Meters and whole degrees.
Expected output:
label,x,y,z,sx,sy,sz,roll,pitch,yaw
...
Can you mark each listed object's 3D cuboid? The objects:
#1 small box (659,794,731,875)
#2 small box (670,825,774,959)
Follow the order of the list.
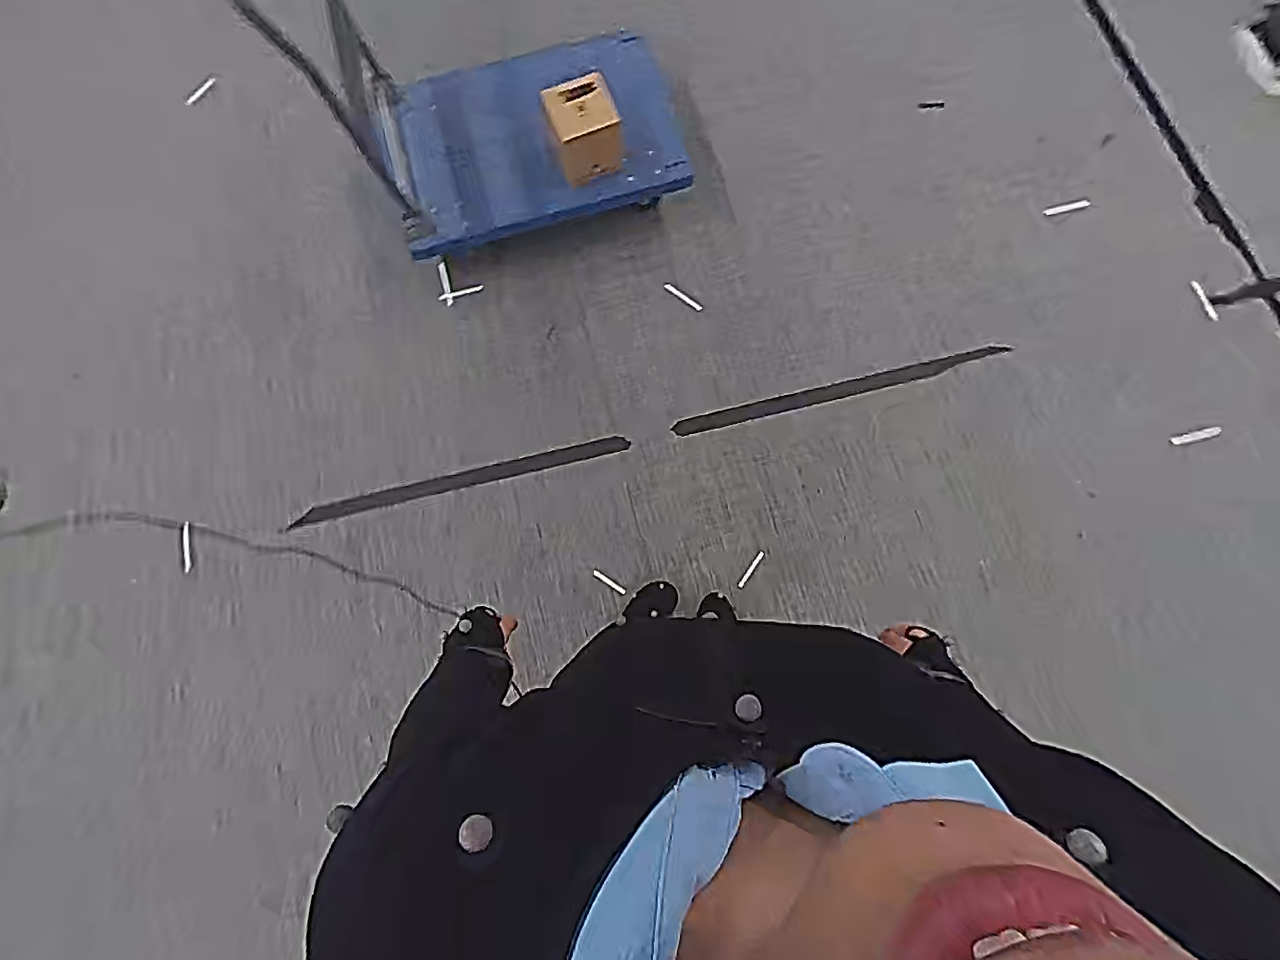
label,x,y,z,sx,sy,sz,roll,pitch,yaw
small box,0.155,0.892,1.286,0.168,0.176,0.179,-26,78,-6
small box,0.161,0.862,1.126,0.168,0.176,0.179,-14,78,-2
